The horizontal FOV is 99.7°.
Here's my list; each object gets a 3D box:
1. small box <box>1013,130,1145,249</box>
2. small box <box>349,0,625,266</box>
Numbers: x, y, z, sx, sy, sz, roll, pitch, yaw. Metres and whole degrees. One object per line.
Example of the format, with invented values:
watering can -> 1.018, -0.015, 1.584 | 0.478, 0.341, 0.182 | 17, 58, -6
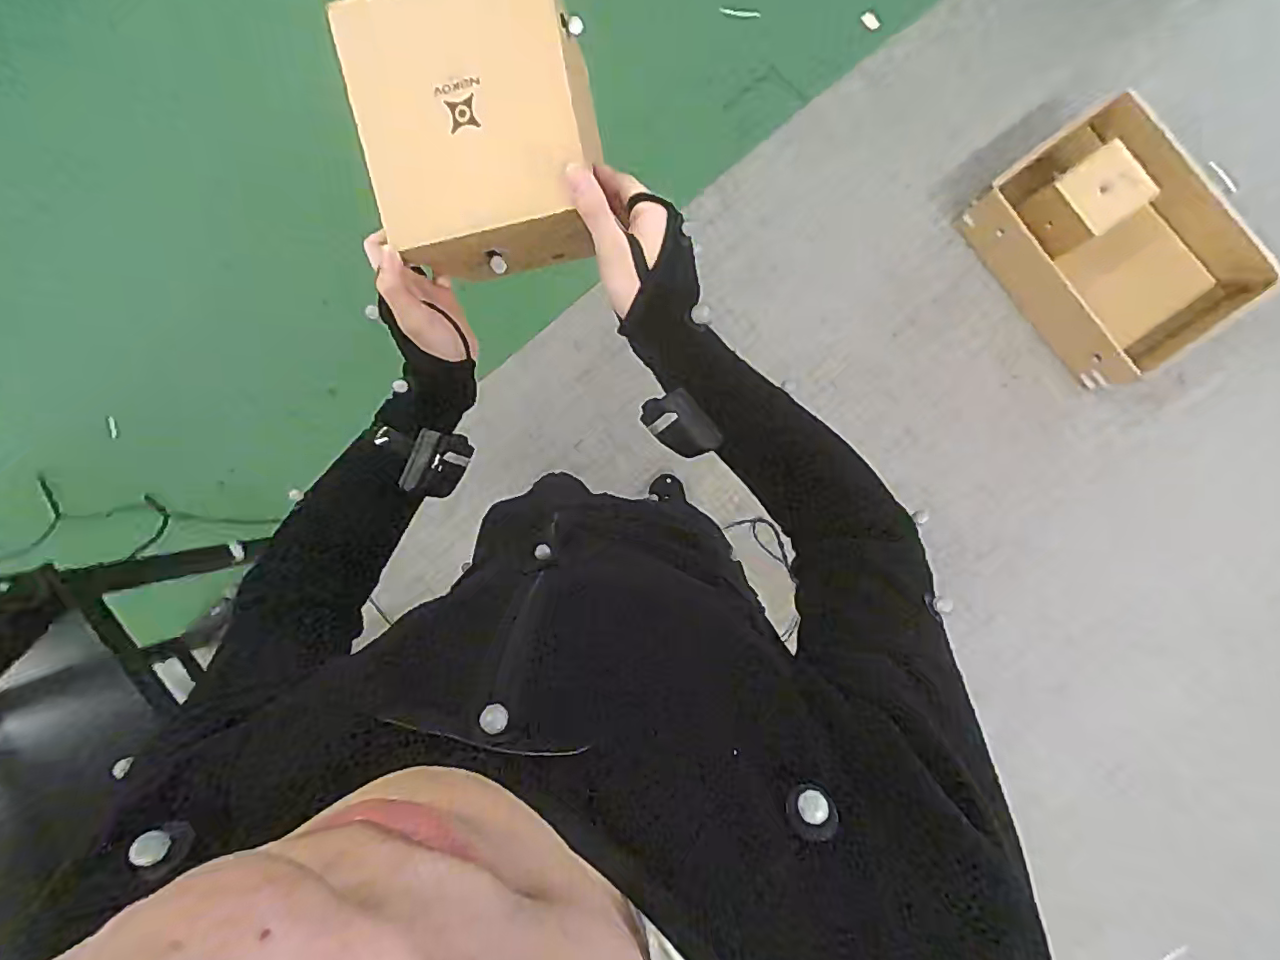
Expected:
small box -> 1.105, -0.732, 1.387 | 0.179, 0.176, 0.168 | -37, 89, 5
small box -> -0.114, -0.301, 0.483 | 0.168, 0.176, 0.179 | -9, 101, 7
